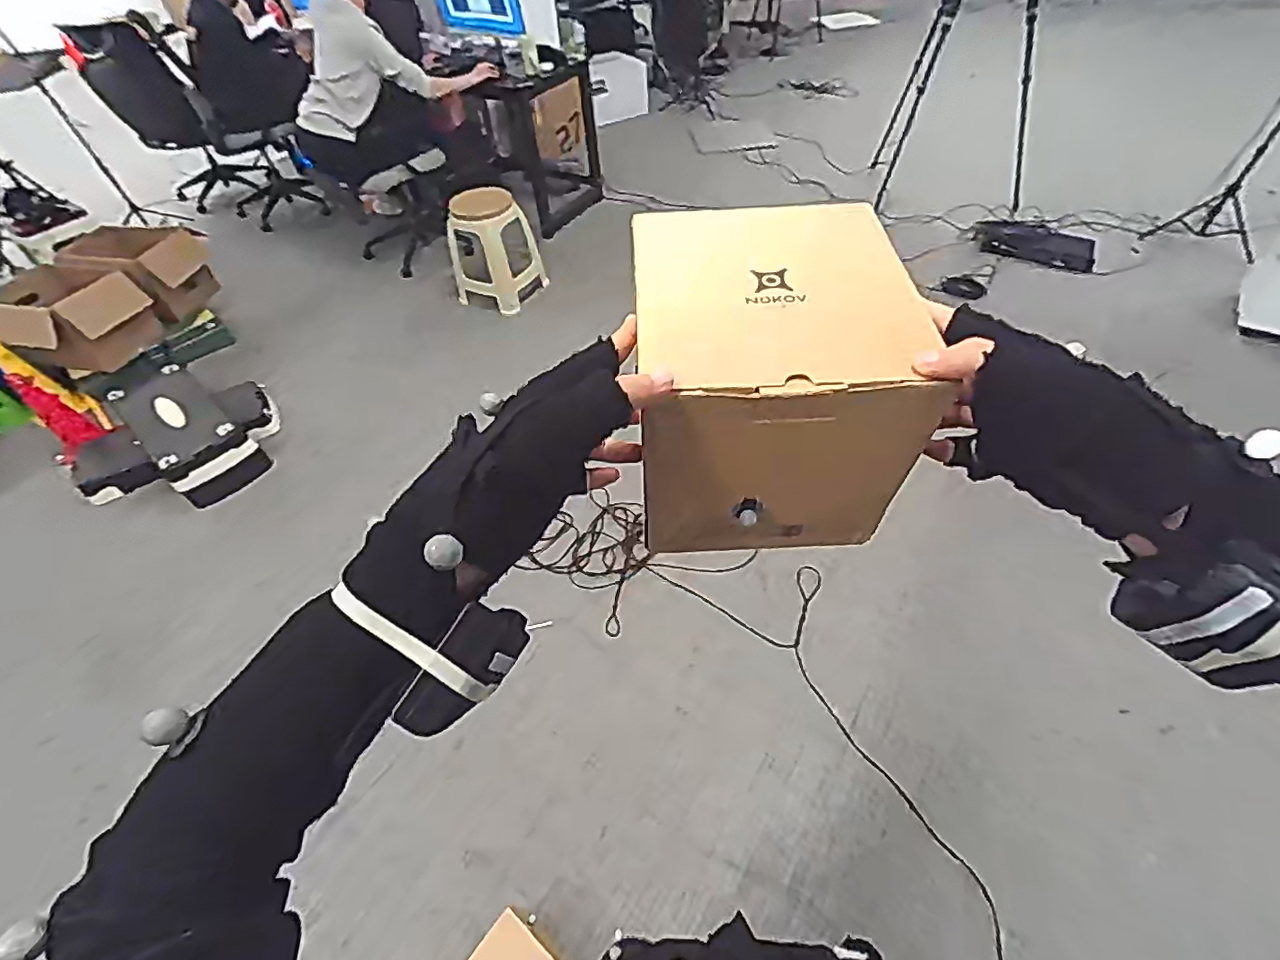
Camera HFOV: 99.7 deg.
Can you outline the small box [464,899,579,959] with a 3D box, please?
[{"bbox_3d":[-0.230,0.953,1.035,0.179,0.176,0.168,30,59,26],"label":"small box"}]
